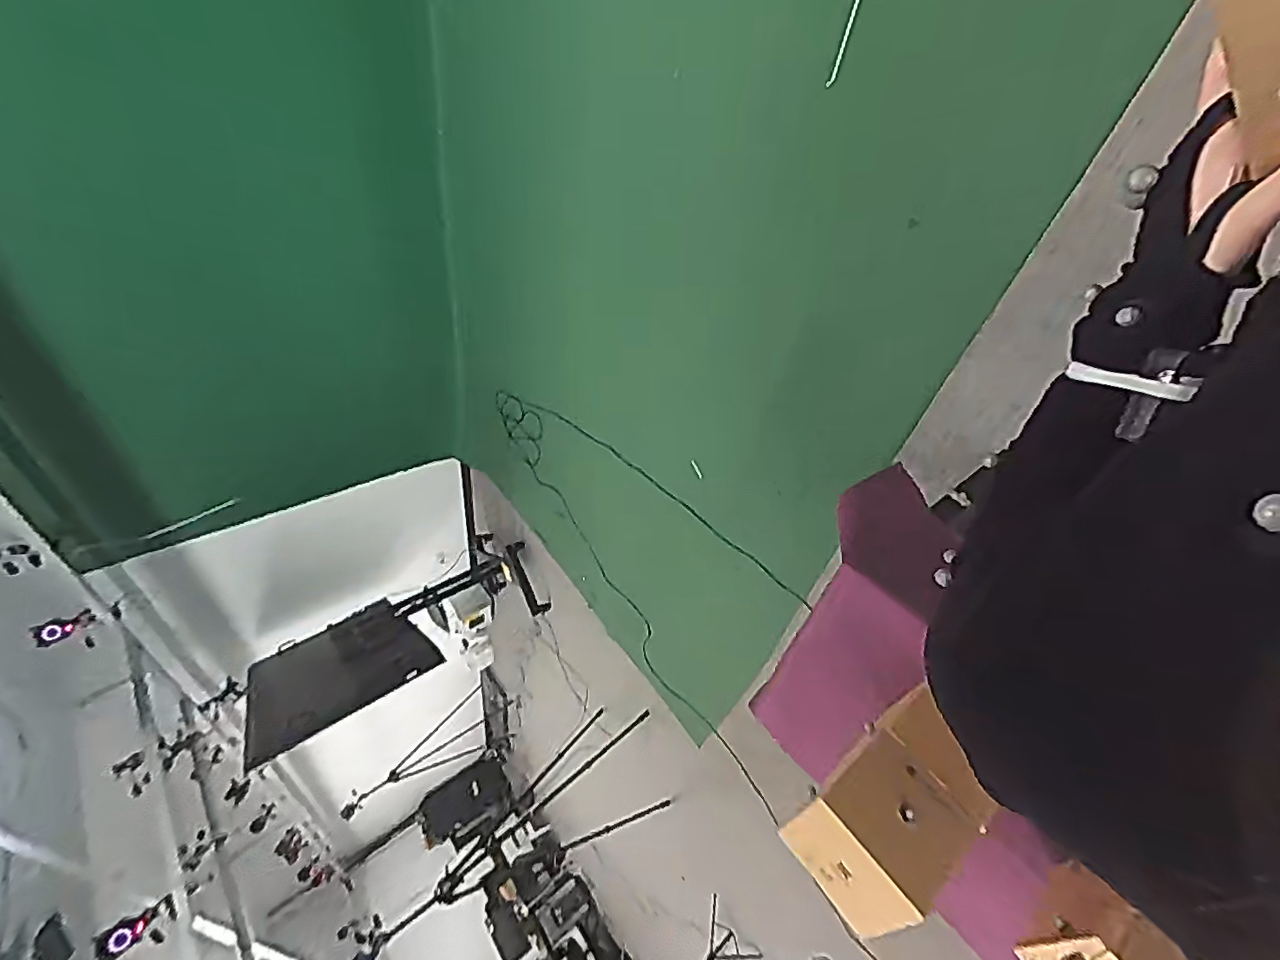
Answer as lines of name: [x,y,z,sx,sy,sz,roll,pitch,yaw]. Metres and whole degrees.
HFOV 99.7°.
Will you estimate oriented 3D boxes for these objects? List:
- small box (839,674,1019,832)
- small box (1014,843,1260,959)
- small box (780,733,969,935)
small box: [0.472,0.458,0.887,0.168,0.176,0.179,46,141,28]
small box: [0.666,0.640,0.724,0.179,0.176,0.168,45,141,29]
small box: [0.345,0.511,0.797,0.168,0.176,0.179,45,141,30]
